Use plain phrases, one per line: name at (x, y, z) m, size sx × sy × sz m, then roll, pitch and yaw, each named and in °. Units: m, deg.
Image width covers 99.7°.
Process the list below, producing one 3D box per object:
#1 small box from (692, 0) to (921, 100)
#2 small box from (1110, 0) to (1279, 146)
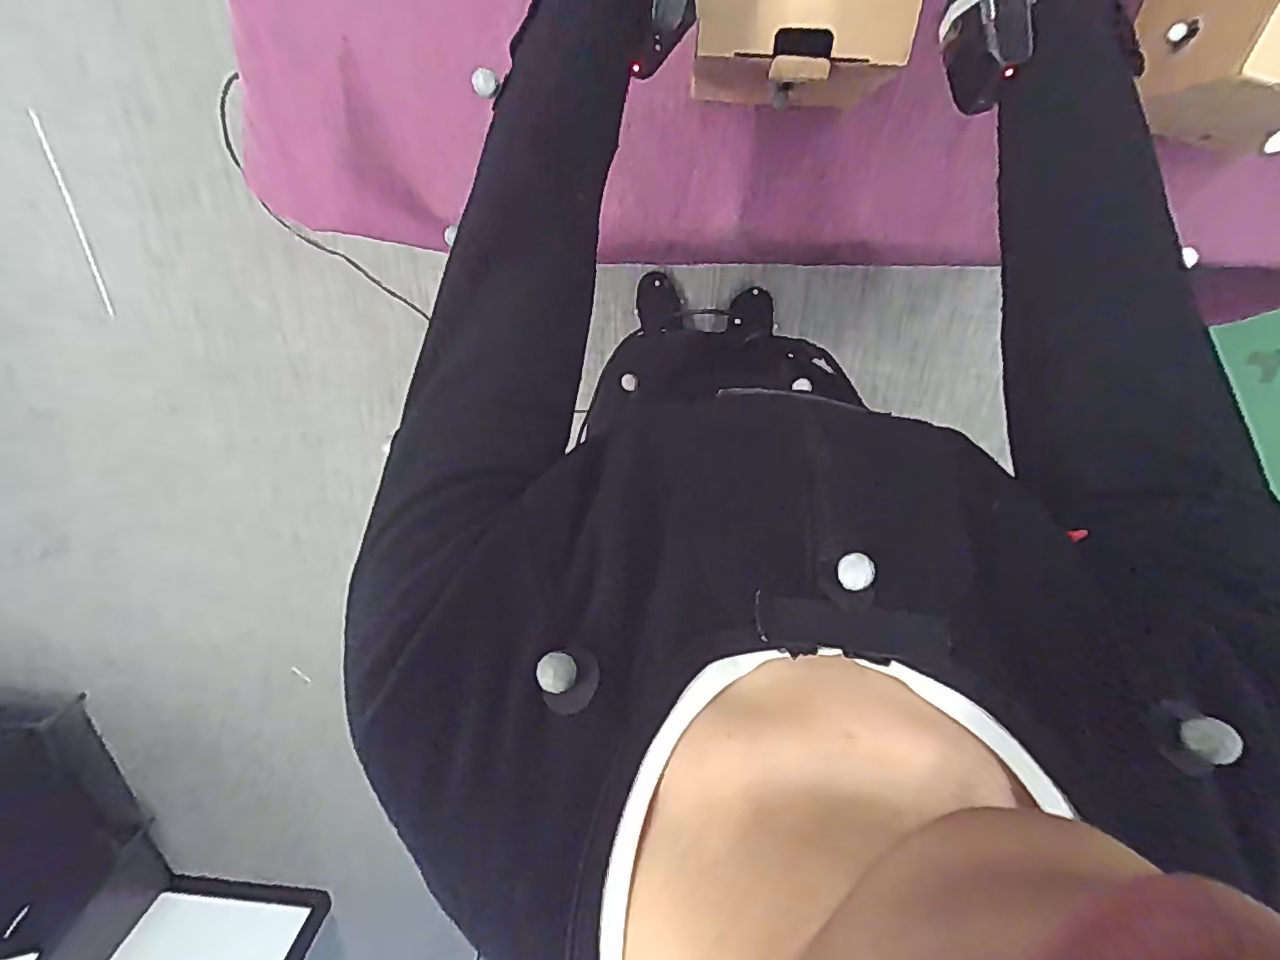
small box at (0.135, -0.433, 0.446) m, size 0.168 × 0.176 × 0.179 m, roll 5°, pitch 116°, yaw 3°
small box at (0.537, -0.387, 0.428) m, size 0.168 × 0.176 × 0.179 m, roll 13°, pitch 115°, yaw -1°
